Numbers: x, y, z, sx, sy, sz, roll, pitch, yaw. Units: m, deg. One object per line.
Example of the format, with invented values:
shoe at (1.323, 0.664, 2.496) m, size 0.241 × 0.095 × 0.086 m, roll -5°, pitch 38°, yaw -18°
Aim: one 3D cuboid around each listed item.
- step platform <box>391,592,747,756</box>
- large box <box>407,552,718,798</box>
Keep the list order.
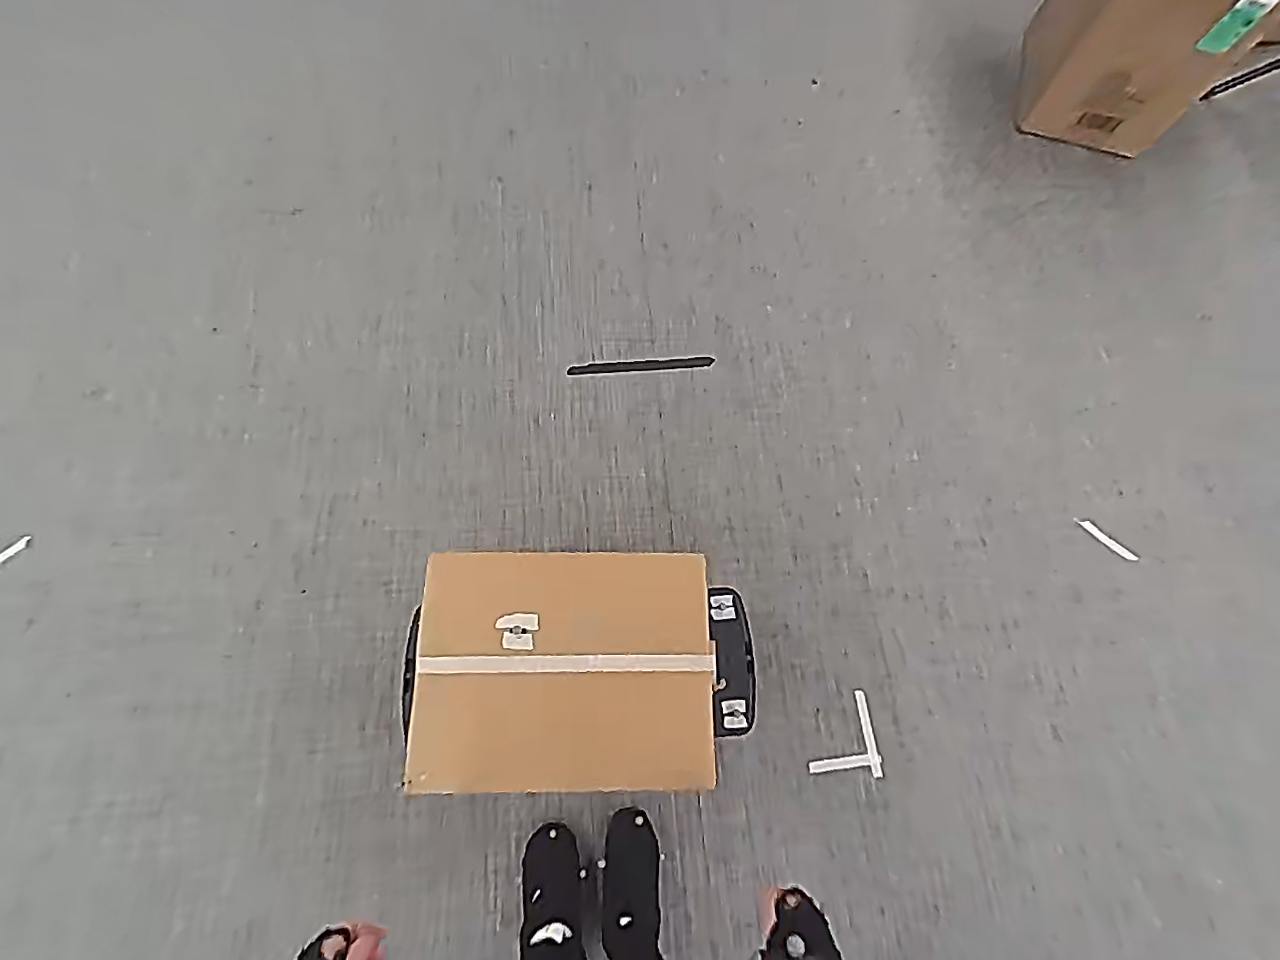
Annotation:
step platform at (-0.130, 0.387, 1.097) m, size 0.684 × 0.204 × 0.286 m, roll 3°, pitch 72°, yaw -1°
large box at (-0.101, 0.300, 0.875) m, size 0.408 × 0.320 × 0.320 m, roll 0°, pitch 71°, yaw -1°
